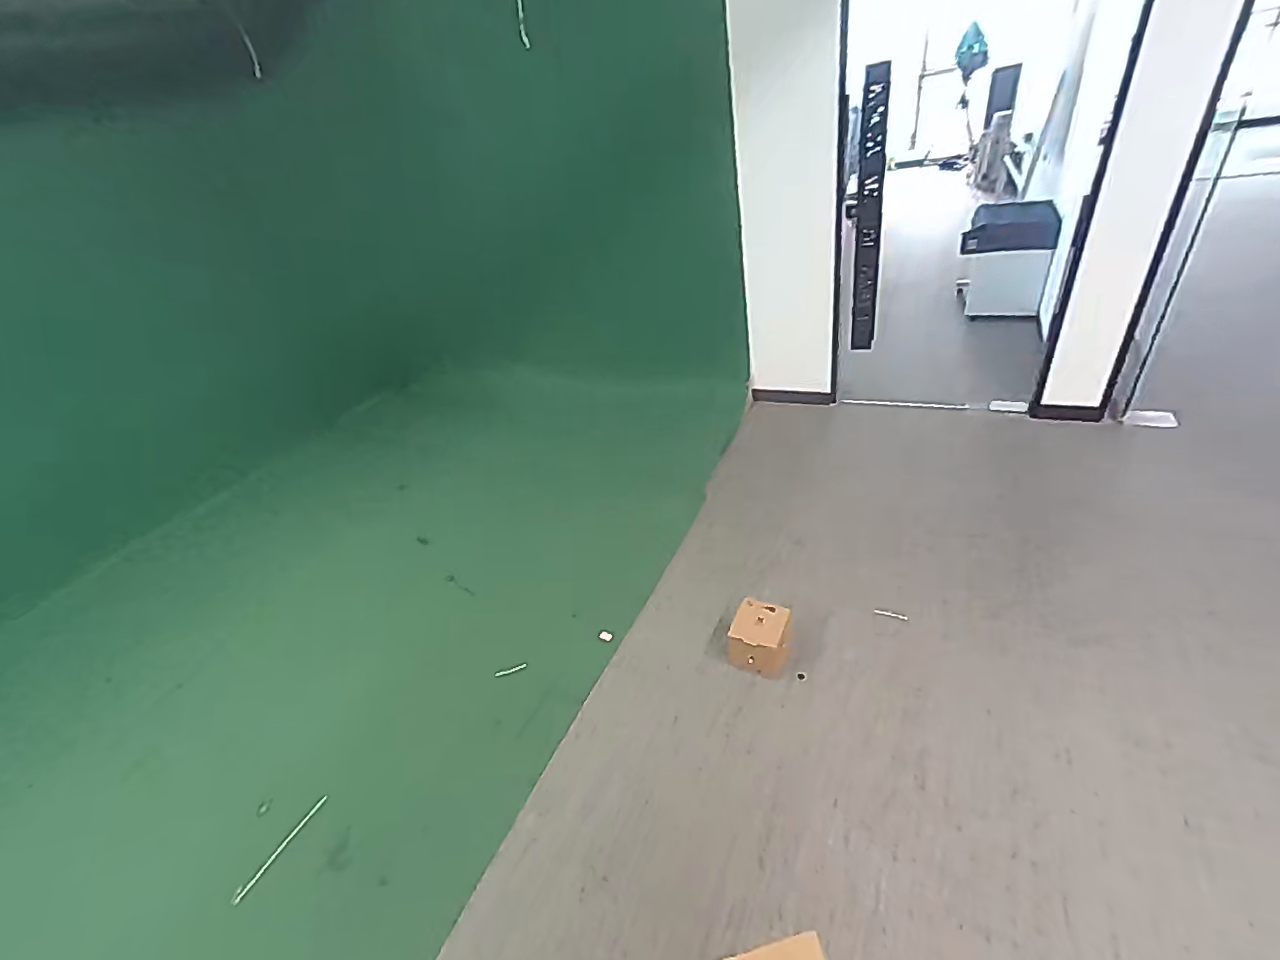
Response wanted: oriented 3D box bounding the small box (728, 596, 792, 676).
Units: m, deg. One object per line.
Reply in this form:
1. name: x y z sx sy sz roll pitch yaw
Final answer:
1. small box: 0.415 0.531 1.836 0.168 0.176 0.179 10 42 29
